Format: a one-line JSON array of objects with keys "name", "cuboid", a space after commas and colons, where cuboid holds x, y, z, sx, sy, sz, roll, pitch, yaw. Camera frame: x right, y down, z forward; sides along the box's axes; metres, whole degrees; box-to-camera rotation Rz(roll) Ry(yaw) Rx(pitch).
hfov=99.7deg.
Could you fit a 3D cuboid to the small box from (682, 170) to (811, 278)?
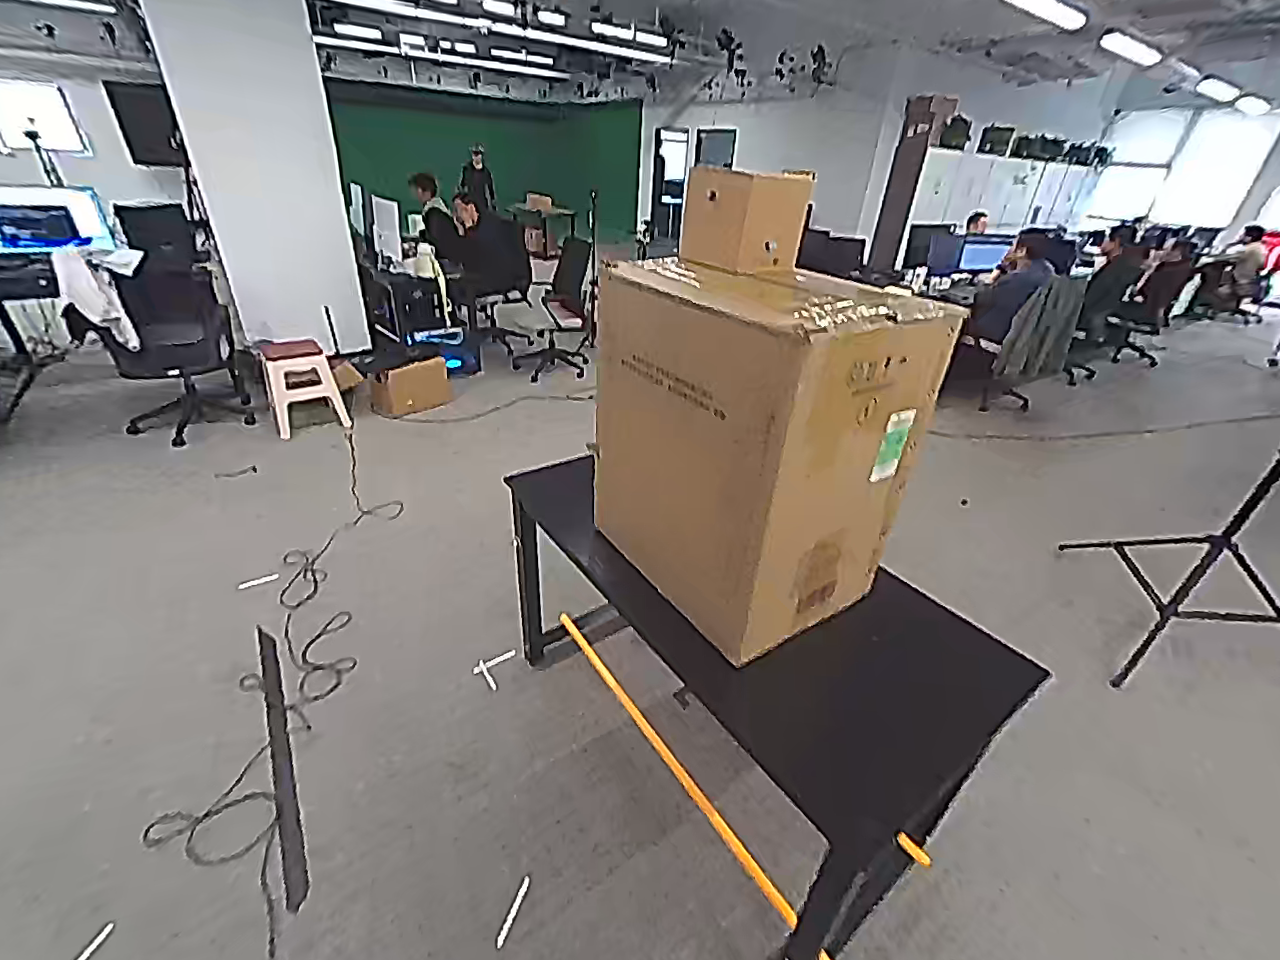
[{"name": "small box", "cuboid": [0.200, -0.504, 1.068, 0.168, 0.176, 0.179, -16, 37, -32]}]
